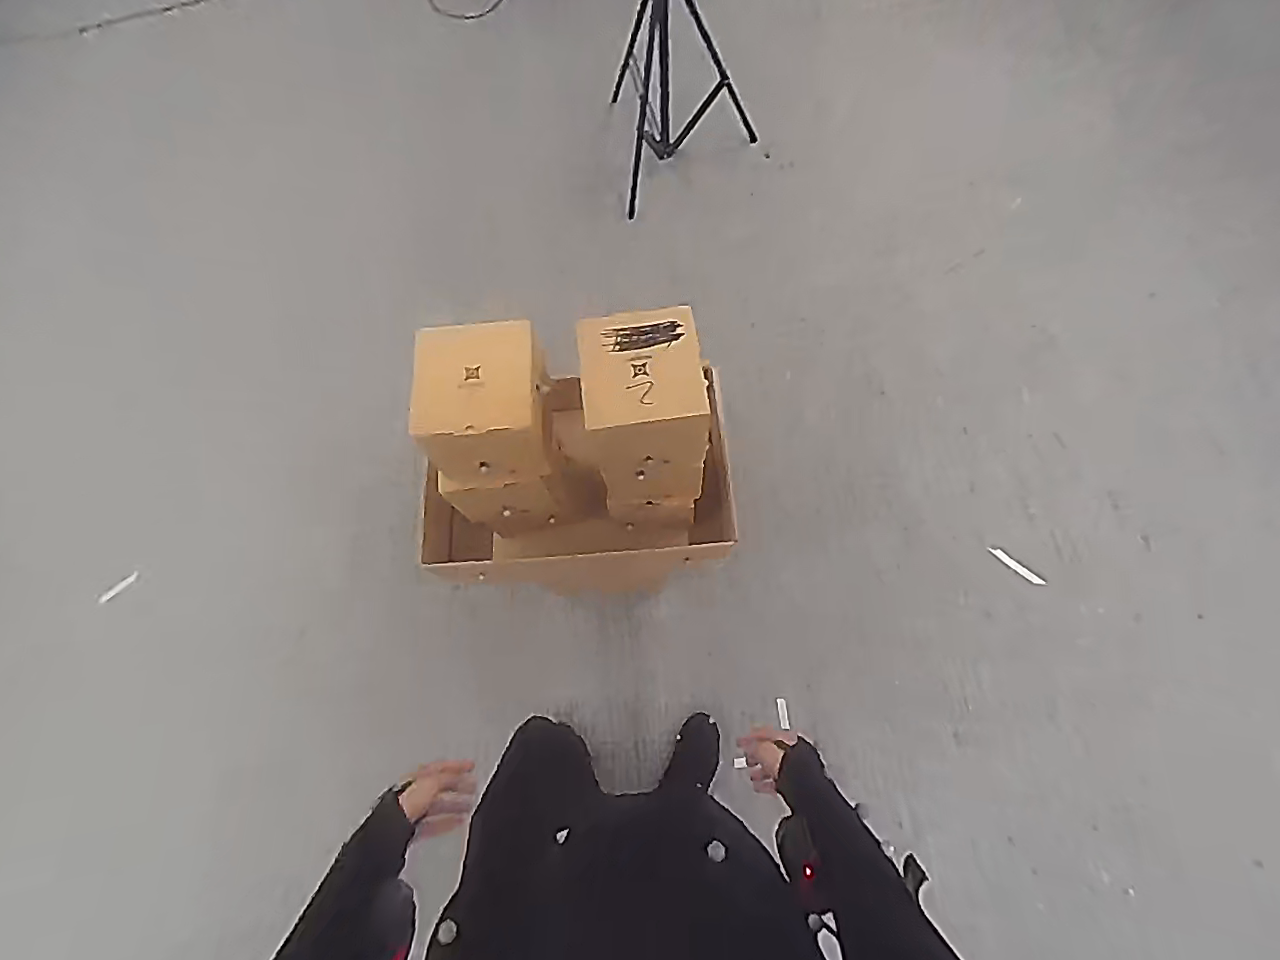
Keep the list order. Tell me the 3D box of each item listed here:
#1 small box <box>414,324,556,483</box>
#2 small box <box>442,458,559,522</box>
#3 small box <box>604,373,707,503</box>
[{"bbox_3d":[-0.222,-0.110,0.818,0.168,0.176,0.179,-5,70,-1],"label":"small box"},{"bbox_3d":[-0.243,-0.038,0.965,0.168,0.176,0.179,-8,70,-1],"label":"small box"},{"bbox_3d":[0.028,-0.069,0.955,0.168,0.176,0.179,-1,69,3],"label":"small box"}]
